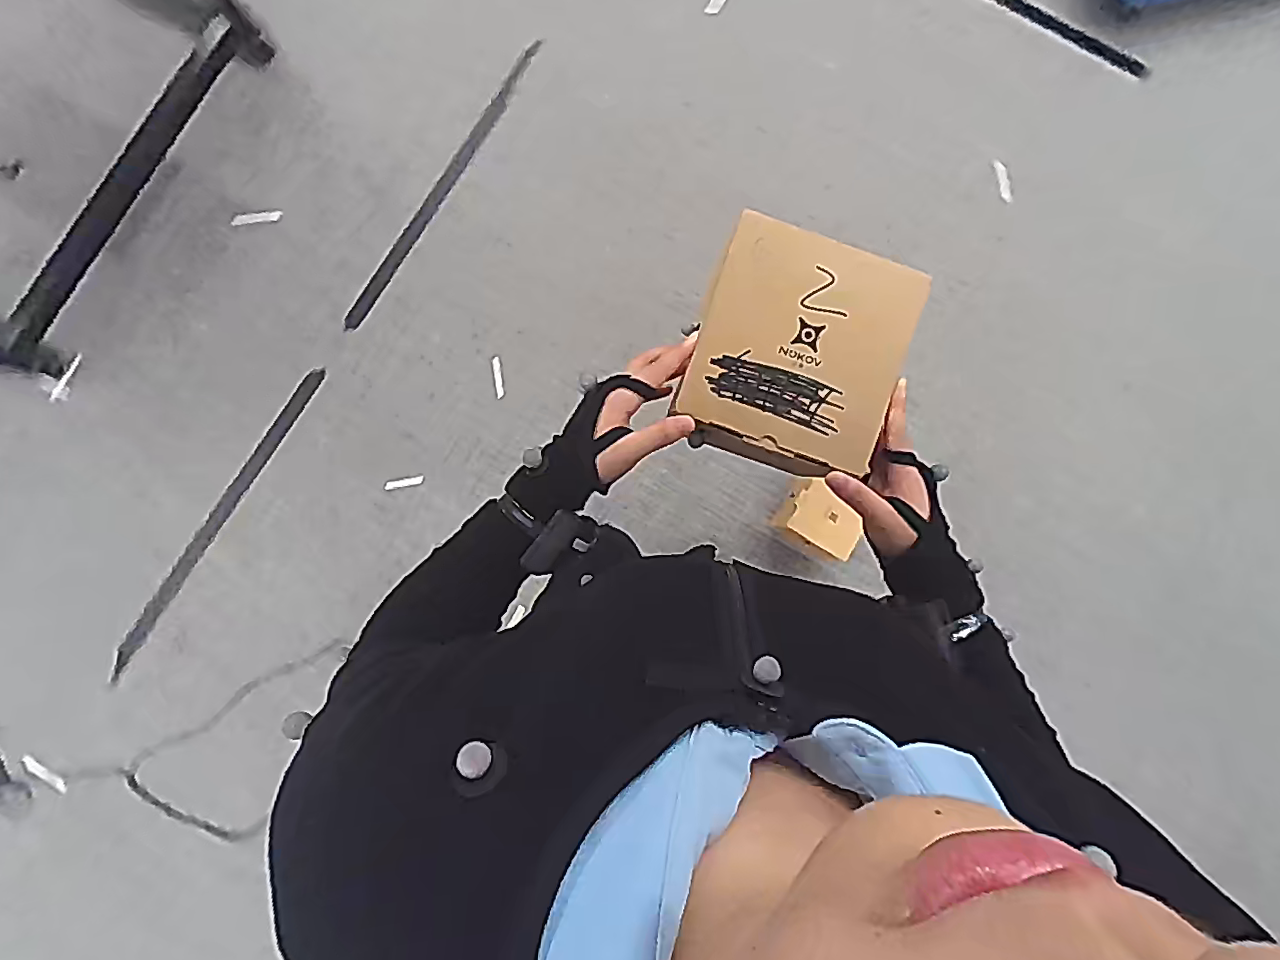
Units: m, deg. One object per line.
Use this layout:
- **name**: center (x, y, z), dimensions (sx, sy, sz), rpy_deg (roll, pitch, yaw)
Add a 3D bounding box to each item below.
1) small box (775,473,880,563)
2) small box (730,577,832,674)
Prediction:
- **small box**: center (0.486, 0.099, 1.425), dimensions (0.179, 0.176, 0.168), rpy_deg (32, 85, 3)
- **small box**: center (0.354, 0.365, 1.399), dimensions (0.179, 0.176, 0.168), rpy_deg (35, 87, 3)
